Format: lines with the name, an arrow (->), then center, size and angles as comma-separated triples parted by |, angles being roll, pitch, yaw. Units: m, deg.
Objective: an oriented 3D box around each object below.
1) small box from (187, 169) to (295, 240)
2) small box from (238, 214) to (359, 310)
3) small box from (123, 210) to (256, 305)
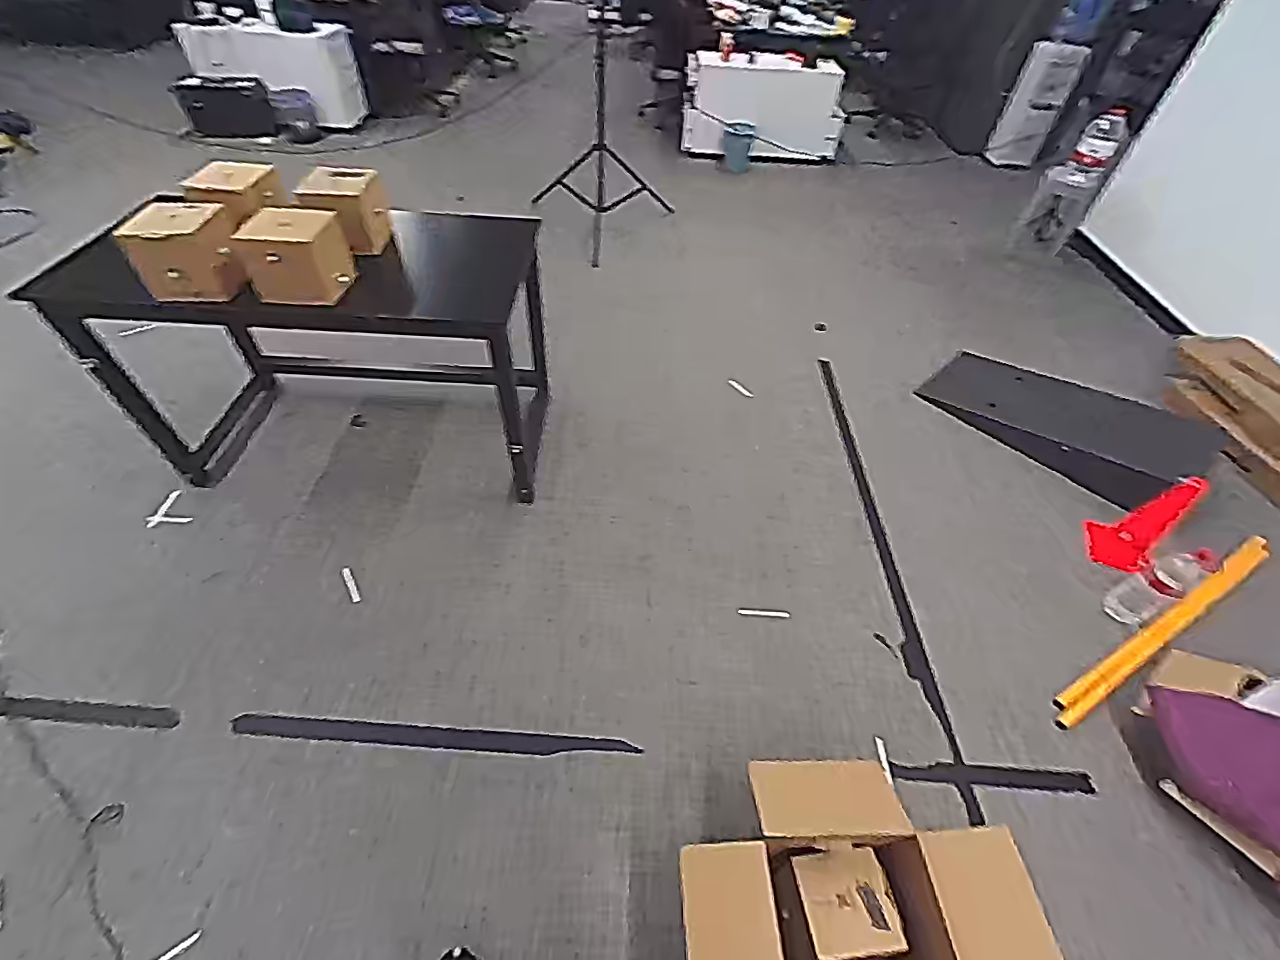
small box -> -1.101, -0.750, 1.523 | 0.168, 0.176, 0.179 | 4, 49, 0
small box -> -0.841, -0.543, 1.354 | 0.179, 0.176, 0.168 | 3, 49, -2
small box -> -1.098, -0.549, 1.341 | 0.168, 0.176, 0.179 | -2, 49, -5
